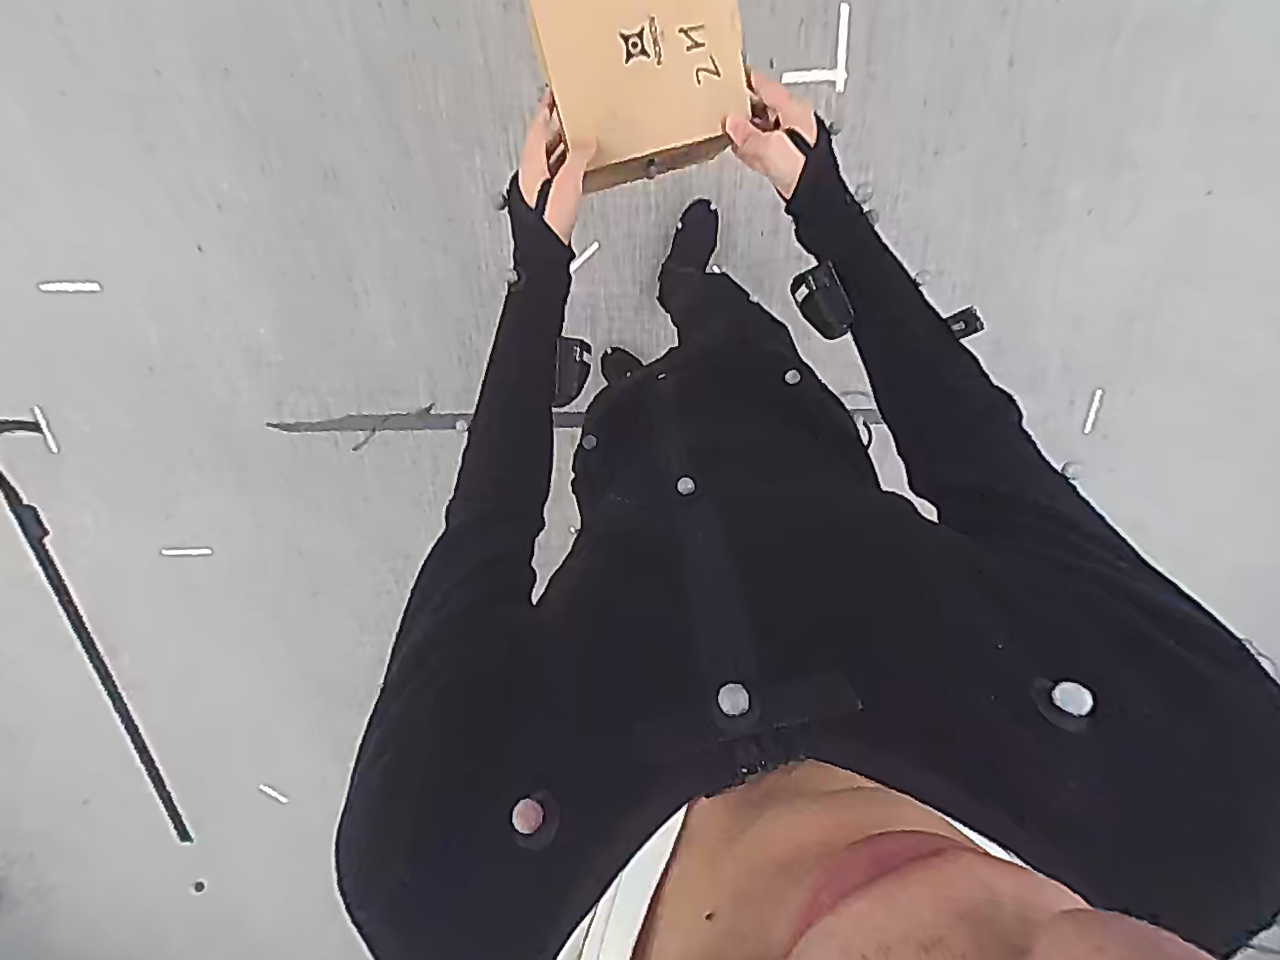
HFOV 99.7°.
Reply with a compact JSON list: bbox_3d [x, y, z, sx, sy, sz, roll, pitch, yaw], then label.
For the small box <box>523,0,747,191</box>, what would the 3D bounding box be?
[{"bbox_3d":[-0.010,-0.409,0.547,0.179,0.176,0.168,-16,112,-2],"label":"small box"}]
